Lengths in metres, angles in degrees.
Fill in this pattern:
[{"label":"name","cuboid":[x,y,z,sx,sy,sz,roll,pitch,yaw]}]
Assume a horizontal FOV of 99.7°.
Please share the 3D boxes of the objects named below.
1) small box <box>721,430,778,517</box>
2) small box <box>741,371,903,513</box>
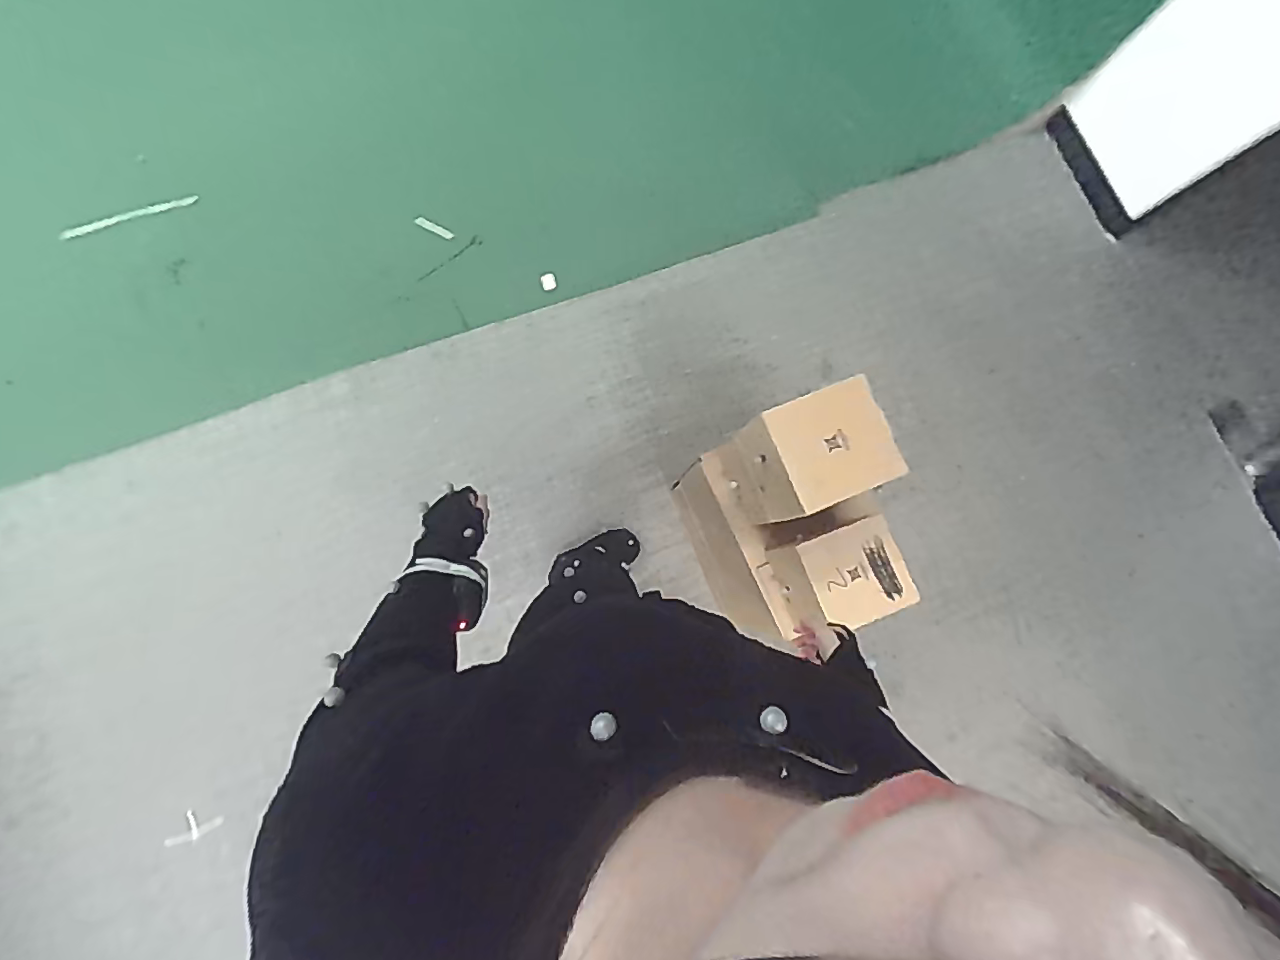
[{"label":"small box","cuboid":[0.278,-0.034,1.045,0.179,0.176,0.168,-21,85,-6]},{"label":"small box","cuboid":[0.280,-0.052,0.883,0.179,0.176,0.168,-21,85,-7]}]
